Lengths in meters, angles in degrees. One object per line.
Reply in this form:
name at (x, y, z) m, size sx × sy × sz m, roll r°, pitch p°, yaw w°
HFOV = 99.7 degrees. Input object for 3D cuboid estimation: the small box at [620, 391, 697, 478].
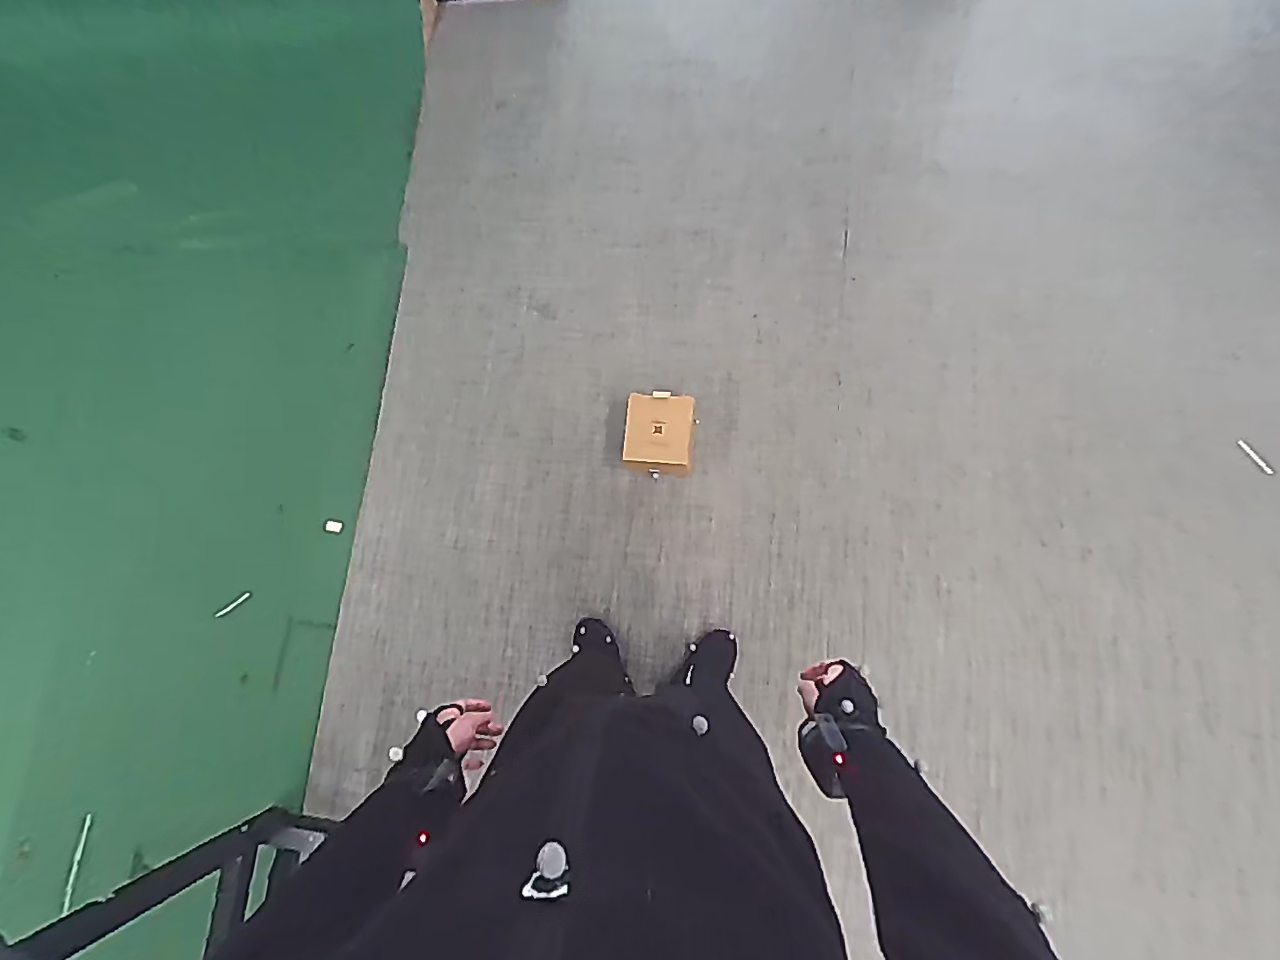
small box at (0.056, -0.114, 1.397) m, size 0.168 × 0.176 × 0.179 m, roll 7°, pitch 81°, yaw 11°
